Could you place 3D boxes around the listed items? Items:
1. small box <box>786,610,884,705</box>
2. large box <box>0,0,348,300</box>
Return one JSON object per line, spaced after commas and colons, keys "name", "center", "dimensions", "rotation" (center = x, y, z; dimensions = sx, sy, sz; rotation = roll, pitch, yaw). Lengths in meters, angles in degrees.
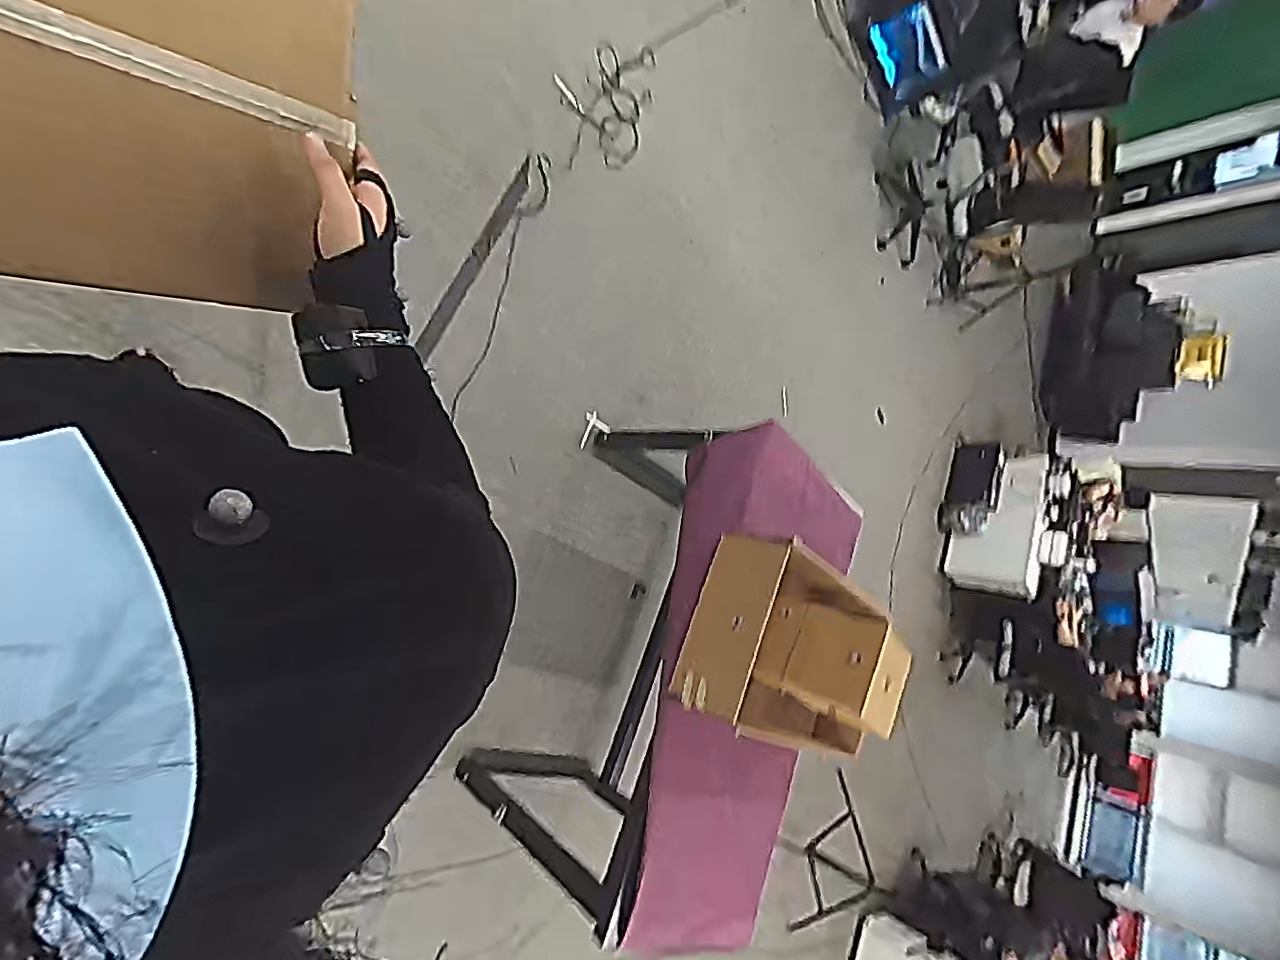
{"name": "small box", "center": [0.502, 0.457, 1.404], "dimensions": [0.168, 0.176, 0.179], "rotation": [30, 74, -40]}
{"name": "large box", "center": [-0.483, -0.352, 0.398], "dimensions": [0.408, 0.320, 0.320], "rotation": [-7, 122, -45]}
